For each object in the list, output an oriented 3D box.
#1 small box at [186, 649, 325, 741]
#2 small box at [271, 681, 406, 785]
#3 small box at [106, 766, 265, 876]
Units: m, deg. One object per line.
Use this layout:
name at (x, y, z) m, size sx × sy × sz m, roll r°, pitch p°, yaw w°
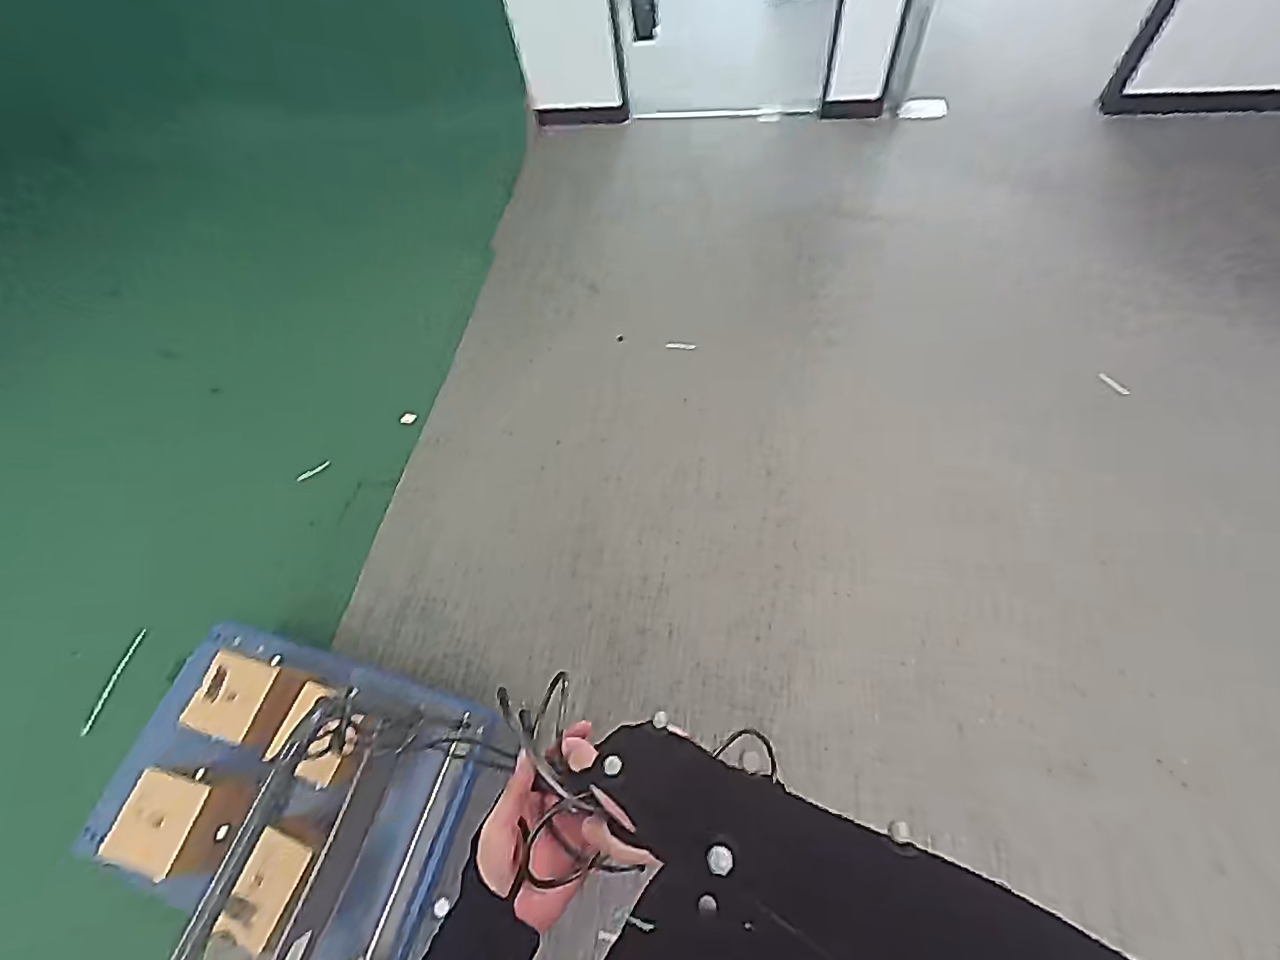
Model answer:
small box at (-0.920, 0.527, 1.311) m, size 0.179 × 0.176 × 0.168 m, roll 12°, pitch 66°, yaw 12°
small box at (-0.688, 0.587, 1.254) m, size 0.179 × 0.176 × 0.168 m, roll 15°, pitch 66°, yaw 14°
small box at (-0.997, 0.748, 1.207) m, size 0.179 × 0.176 × 0.168 m, roll 10°, pitch 64°, yaw 11°
